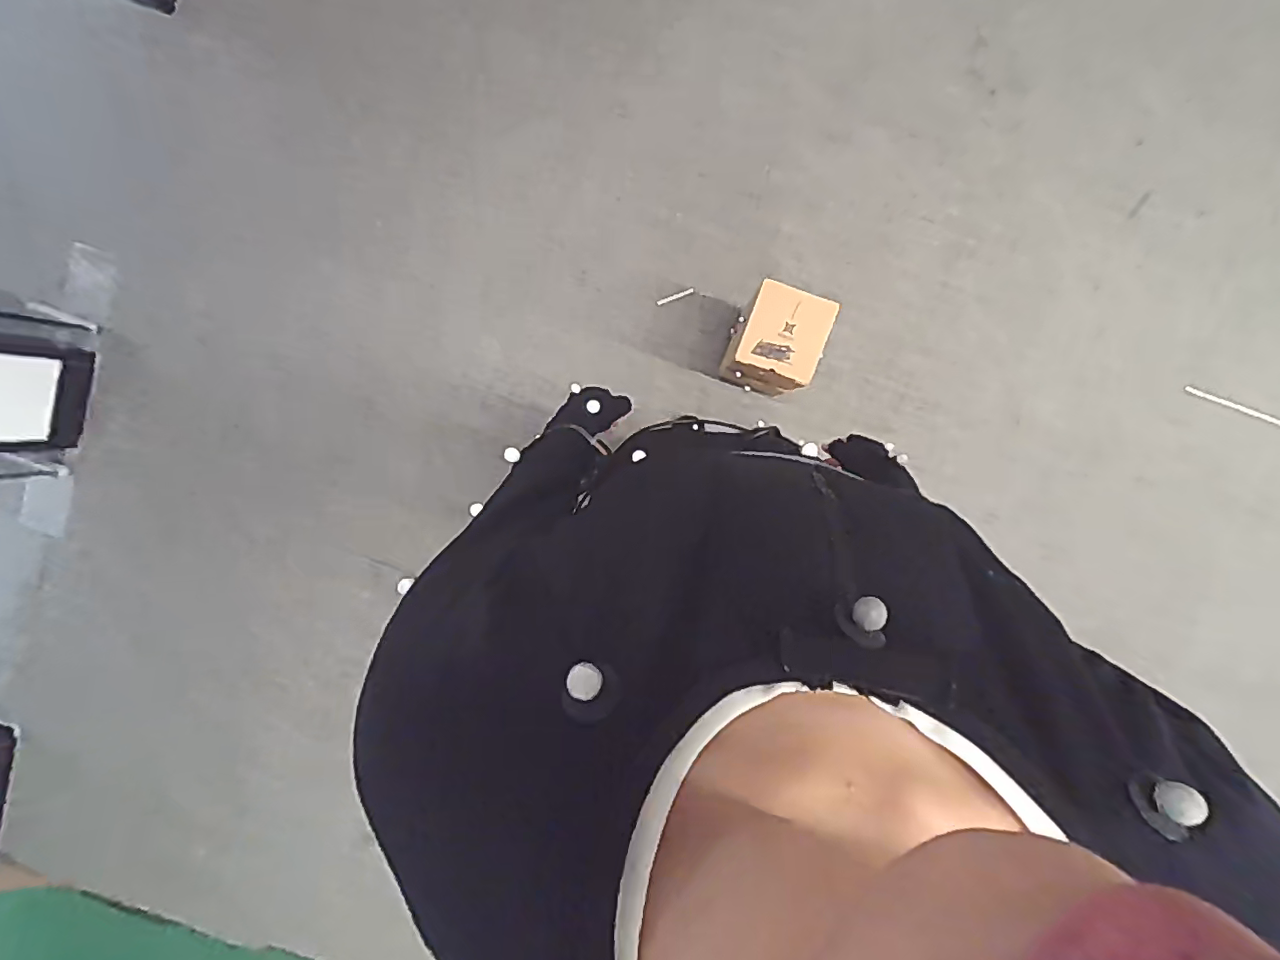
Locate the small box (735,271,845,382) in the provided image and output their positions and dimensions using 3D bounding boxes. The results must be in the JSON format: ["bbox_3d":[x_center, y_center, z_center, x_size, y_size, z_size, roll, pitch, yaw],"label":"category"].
[{"bbox_3d":[0.313,-0.321,1.169,0.168,0.176,0.179,19,97,1],"label":"small box"}]
